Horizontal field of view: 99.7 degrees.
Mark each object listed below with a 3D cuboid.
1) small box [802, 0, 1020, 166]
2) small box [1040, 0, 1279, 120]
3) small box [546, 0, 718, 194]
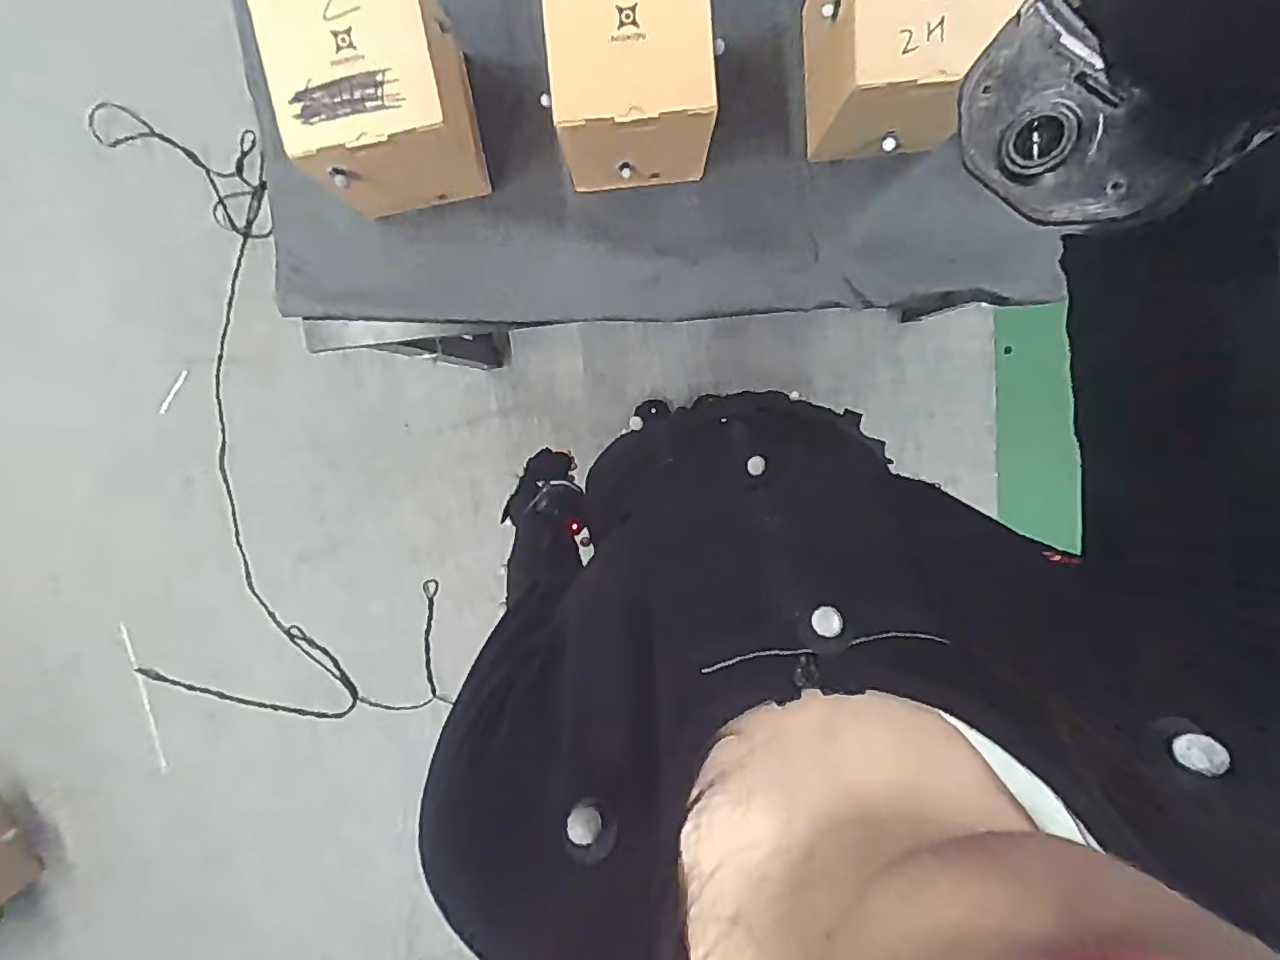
[{"bbox_3d":[0.286,-0.484,0.604,0.168,0.176,0.179,-5,98,1],"label":"small box"},{"bbox_3d":[0.581,-0.529,0.597,0.168,0.176,0.179,-6,97,1],"label":"small box"},{"bbox_3d":[-0.011,-0.452,0.610,0.168,0.176,0.179,-6,98,0],"label":"small box"}]
